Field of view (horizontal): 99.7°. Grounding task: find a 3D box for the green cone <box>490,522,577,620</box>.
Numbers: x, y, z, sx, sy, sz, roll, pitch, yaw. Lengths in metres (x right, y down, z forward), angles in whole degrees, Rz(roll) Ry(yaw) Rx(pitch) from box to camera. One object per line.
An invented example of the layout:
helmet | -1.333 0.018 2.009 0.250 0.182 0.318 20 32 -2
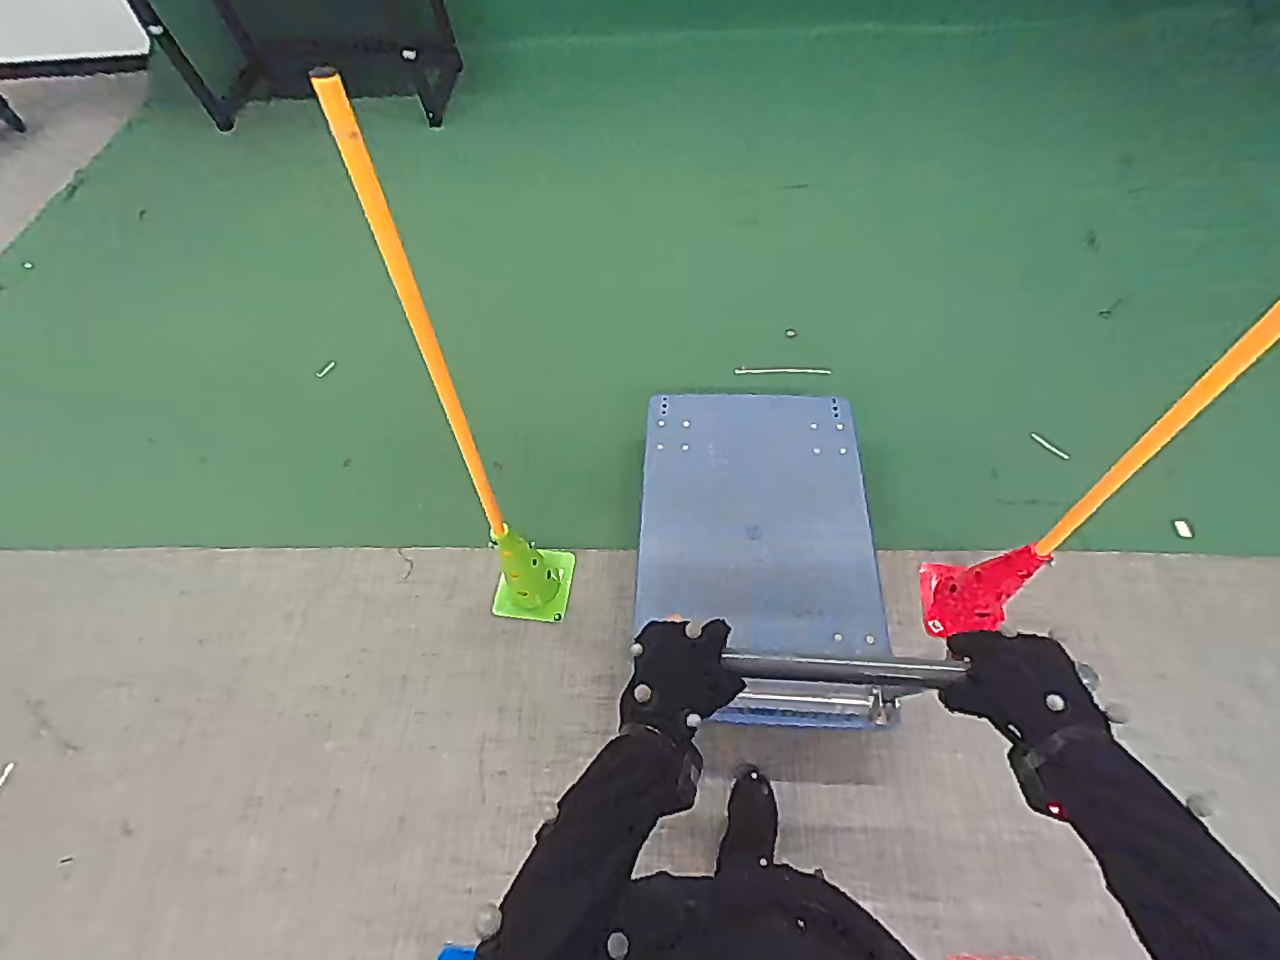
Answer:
green cone | -0.297 0.199 1.362 0.202 0.368 0.200 4 60 7
